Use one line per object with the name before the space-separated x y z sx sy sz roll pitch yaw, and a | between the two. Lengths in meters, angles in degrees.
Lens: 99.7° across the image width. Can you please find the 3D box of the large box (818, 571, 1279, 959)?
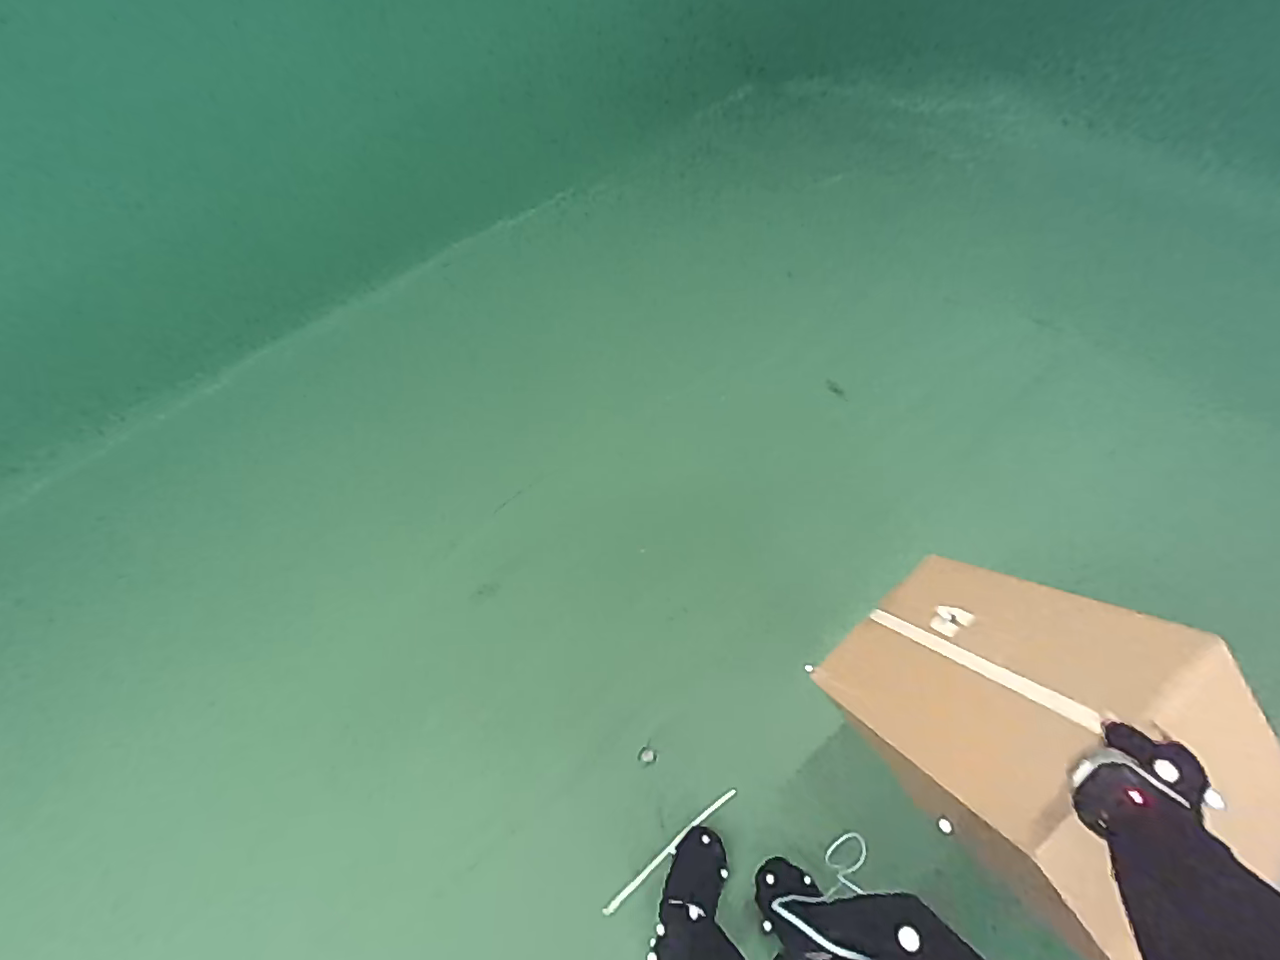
large box | 0.556 0.384 0.782 0.320 0.408 0.320 -40 102 -8
